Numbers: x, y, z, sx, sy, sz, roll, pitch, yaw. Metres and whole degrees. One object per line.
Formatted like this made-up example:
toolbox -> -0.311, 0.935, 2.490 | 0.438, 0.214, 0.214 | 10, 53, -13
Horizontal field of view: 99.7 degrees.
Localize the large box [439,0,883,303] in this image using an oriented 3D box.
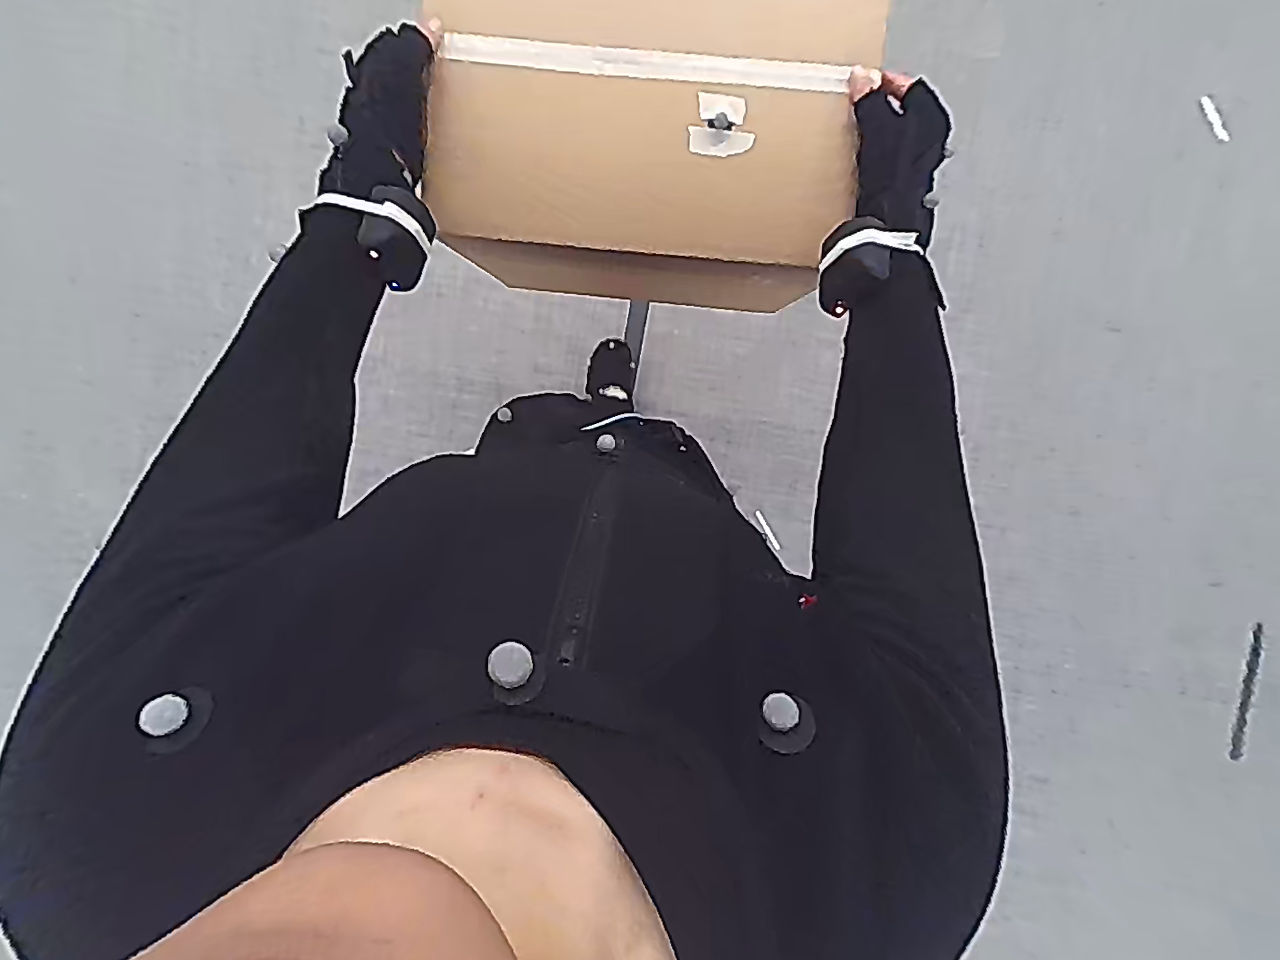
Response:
large box -> 0.015, -0.403, 0.640 | 0.408, 0.320, 0.320 | 5, 101, -1
